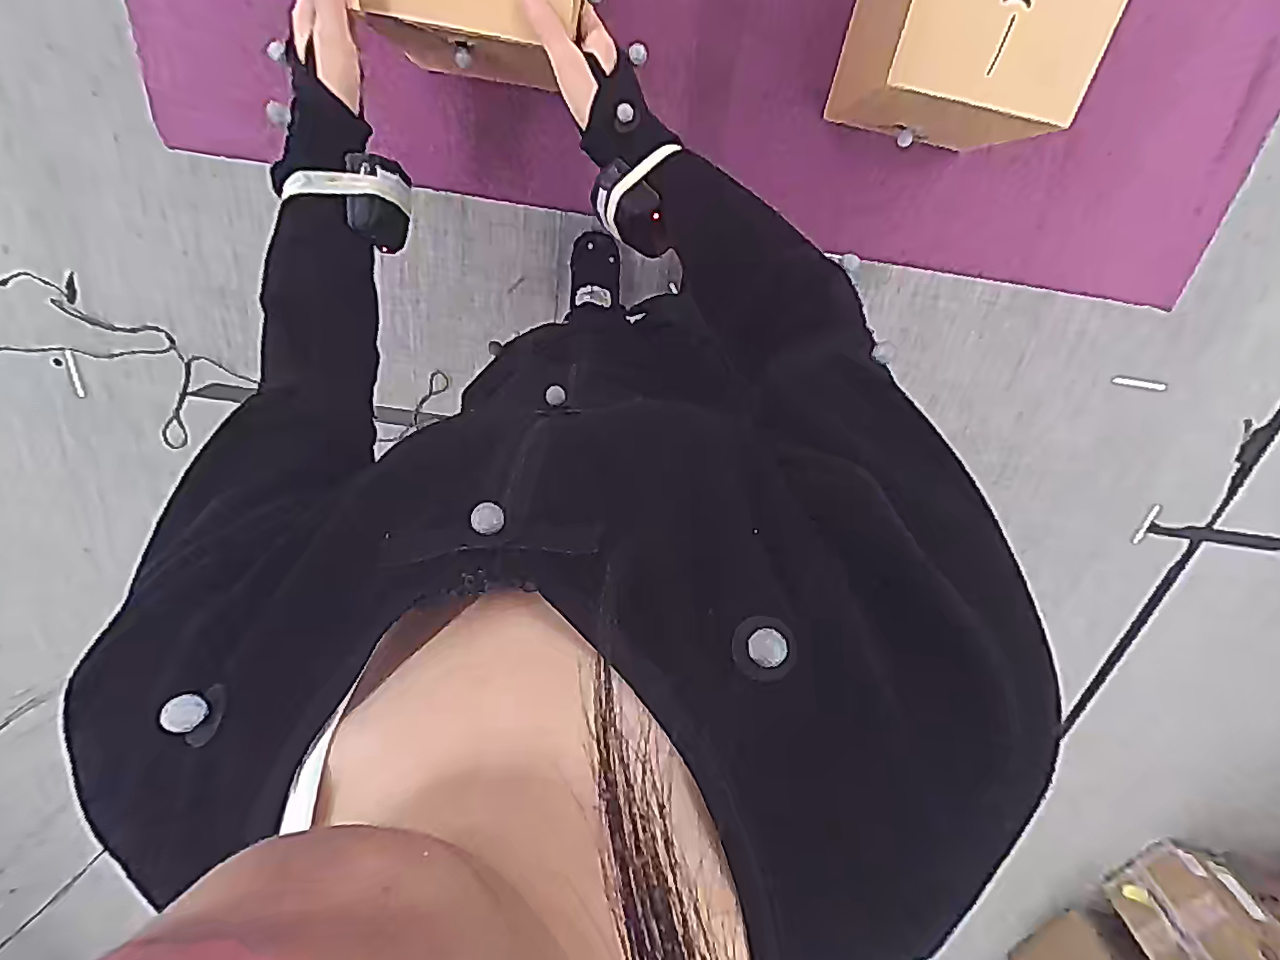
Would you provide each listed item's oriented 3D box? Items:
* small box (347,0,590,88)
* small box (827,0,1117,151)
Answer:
[{"bbox_3d":[-0.132,-0.462,0.466,0.179,0.176,0.168,8,115,-4],"label":"small box"},{"bbox_3d":[0.291,-0.422,0.488,0.168,0.176,0.179,10,115,-5],"label":"small box"}]
